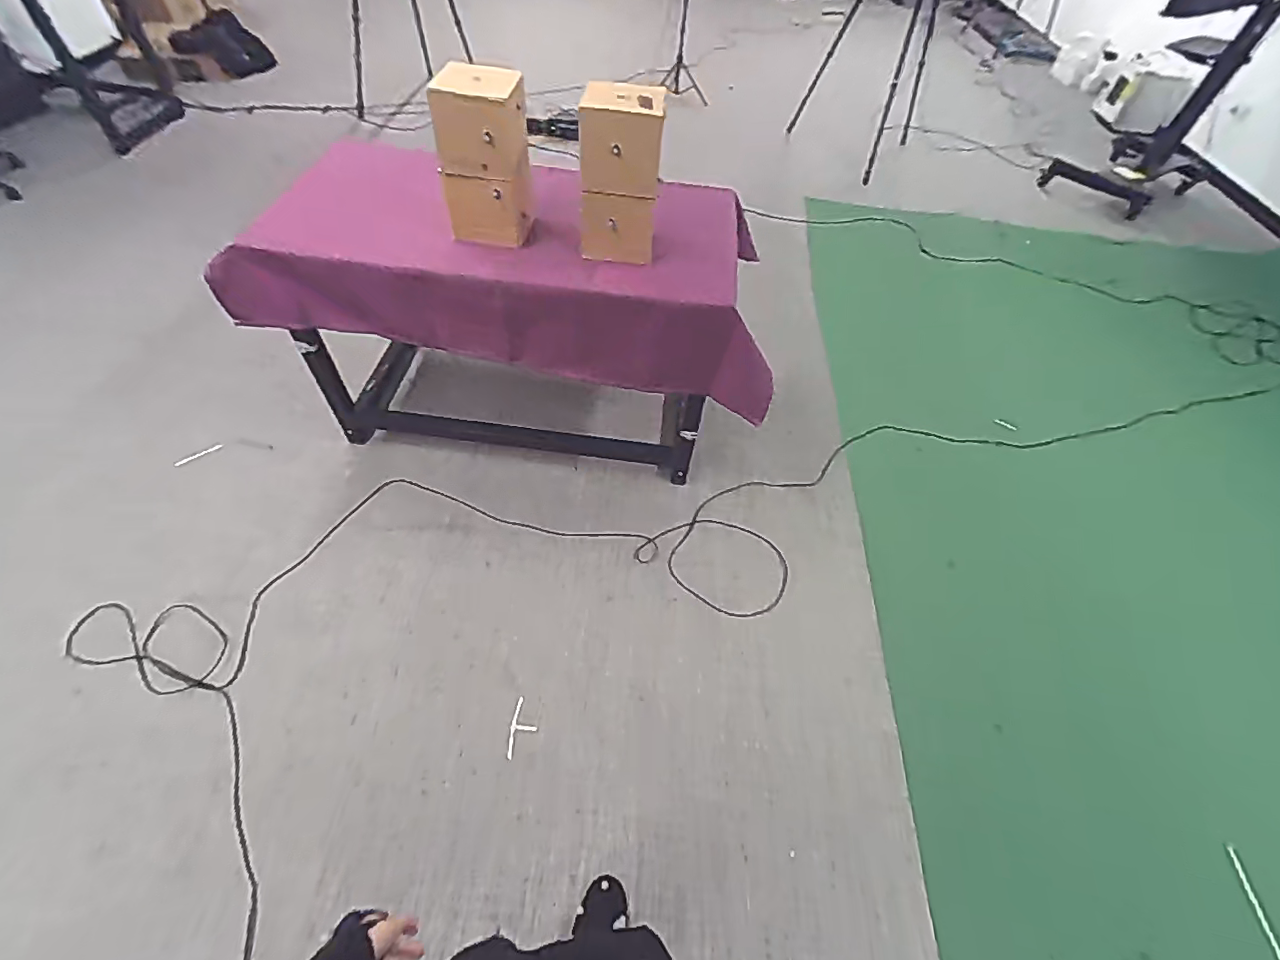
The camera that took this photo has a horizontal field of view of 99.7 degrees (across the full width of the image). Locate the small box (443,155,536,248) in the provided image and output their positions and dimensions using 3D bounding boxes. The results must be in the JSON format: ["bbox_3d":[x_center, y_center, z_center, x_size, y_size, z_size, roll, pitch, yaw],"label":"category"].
[{"bbox_3d":[-0.368,-0.708,1.359,0.179,0.176,0.168,8,52,0],"label":"small box"}]

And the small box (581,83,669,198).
[{"bbox_3d":[-0.034,-0.760,1.217,0.179,0.176,0.168,6,52,0],"label":"small box"}]

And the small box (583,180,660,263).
[{"bbox_3d":[-0.045,-0.663,1.350,0.179,0.176,0.168,5,52,-1],"label":"small box"}]

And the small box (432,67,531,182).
[{"bbox_3d":[-0.349,-0.806,1.231,0.168,0.176,0.179,8,51,-1],"label":"small box"}]
